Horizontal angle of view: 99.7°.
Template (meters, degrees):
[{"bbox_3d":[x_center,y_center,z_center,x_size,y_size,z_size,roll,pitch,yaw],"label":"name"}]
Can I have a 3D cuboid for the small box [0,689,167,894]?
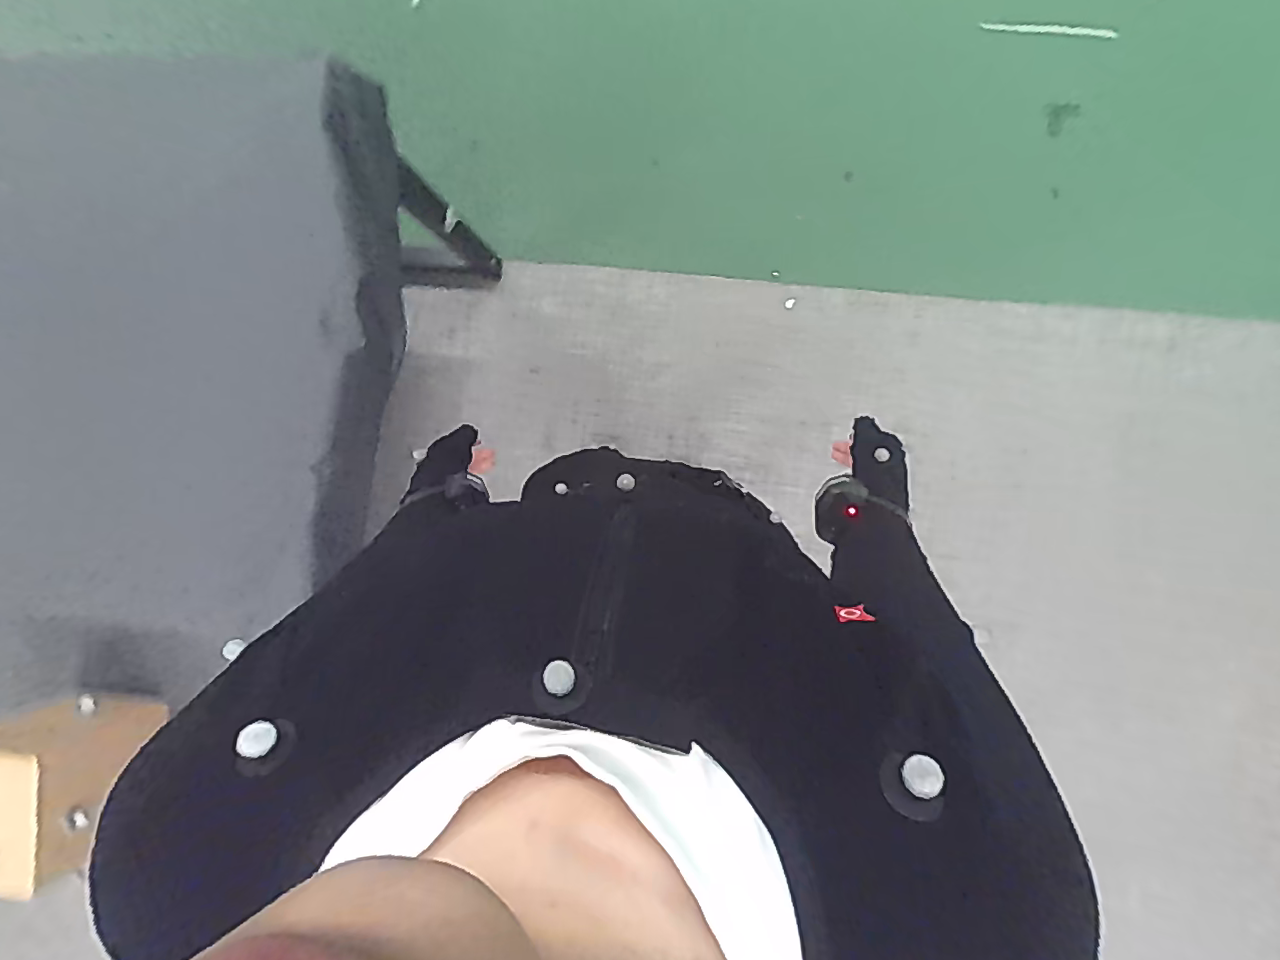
[{"bbox_3d":[-0.802,0.413,0.744,0.168,0.176,0.179,3,91,5],"label":"small box"}]
